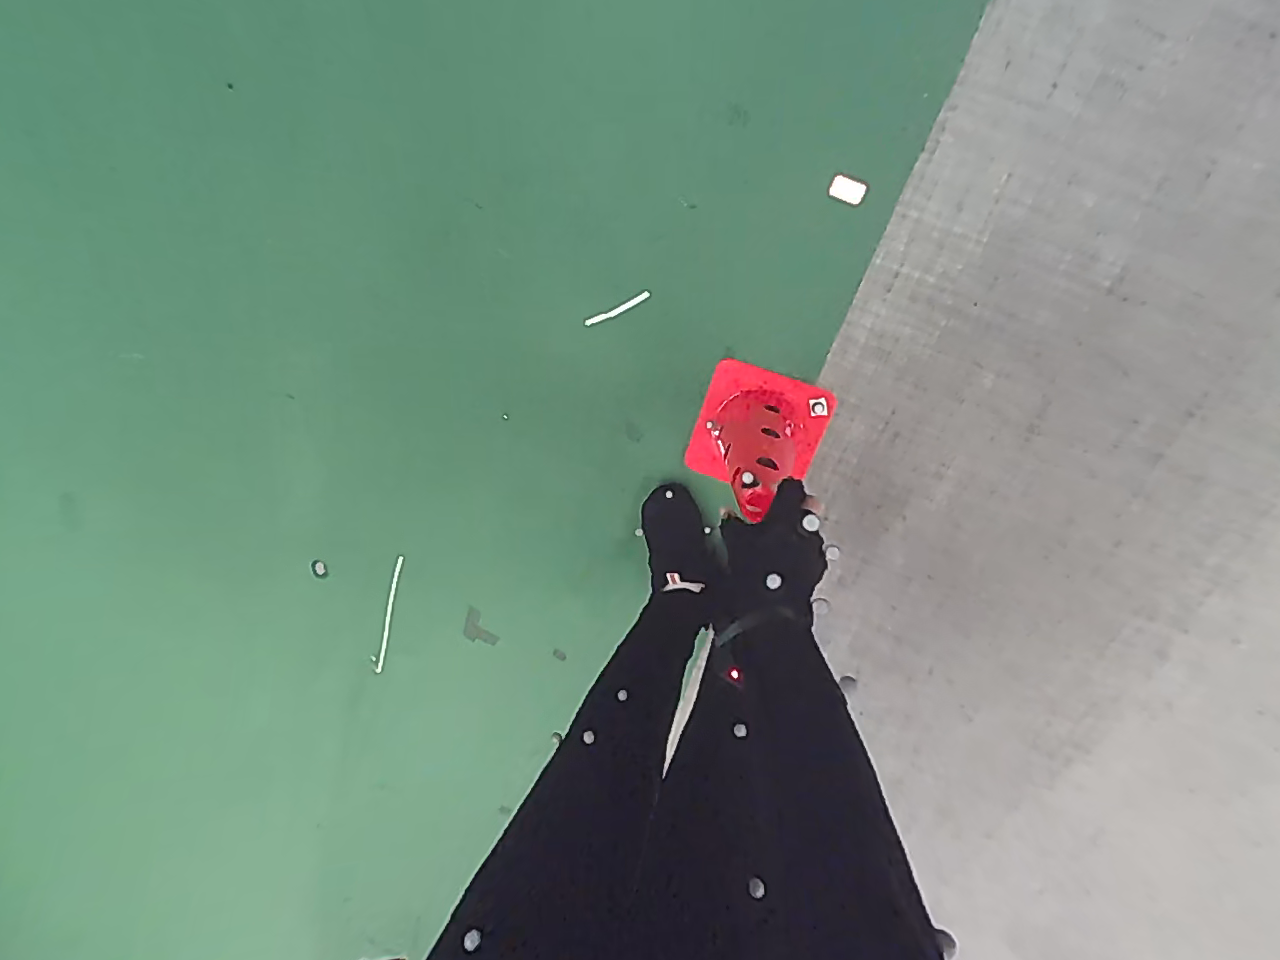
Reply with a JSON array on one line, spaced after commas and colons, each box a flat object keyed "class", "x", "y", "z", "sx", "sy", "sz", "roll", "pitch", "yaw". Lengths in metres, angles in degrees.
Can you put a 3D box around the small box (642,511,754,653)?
[{"class": "small box", "x": 0.097, "y": 0.175, "z": 0.956, "sx": 0.168, "sy": 0.176, "sz": 0.179, "roll": 5, "pitch": 113, "yaw": 0}]
